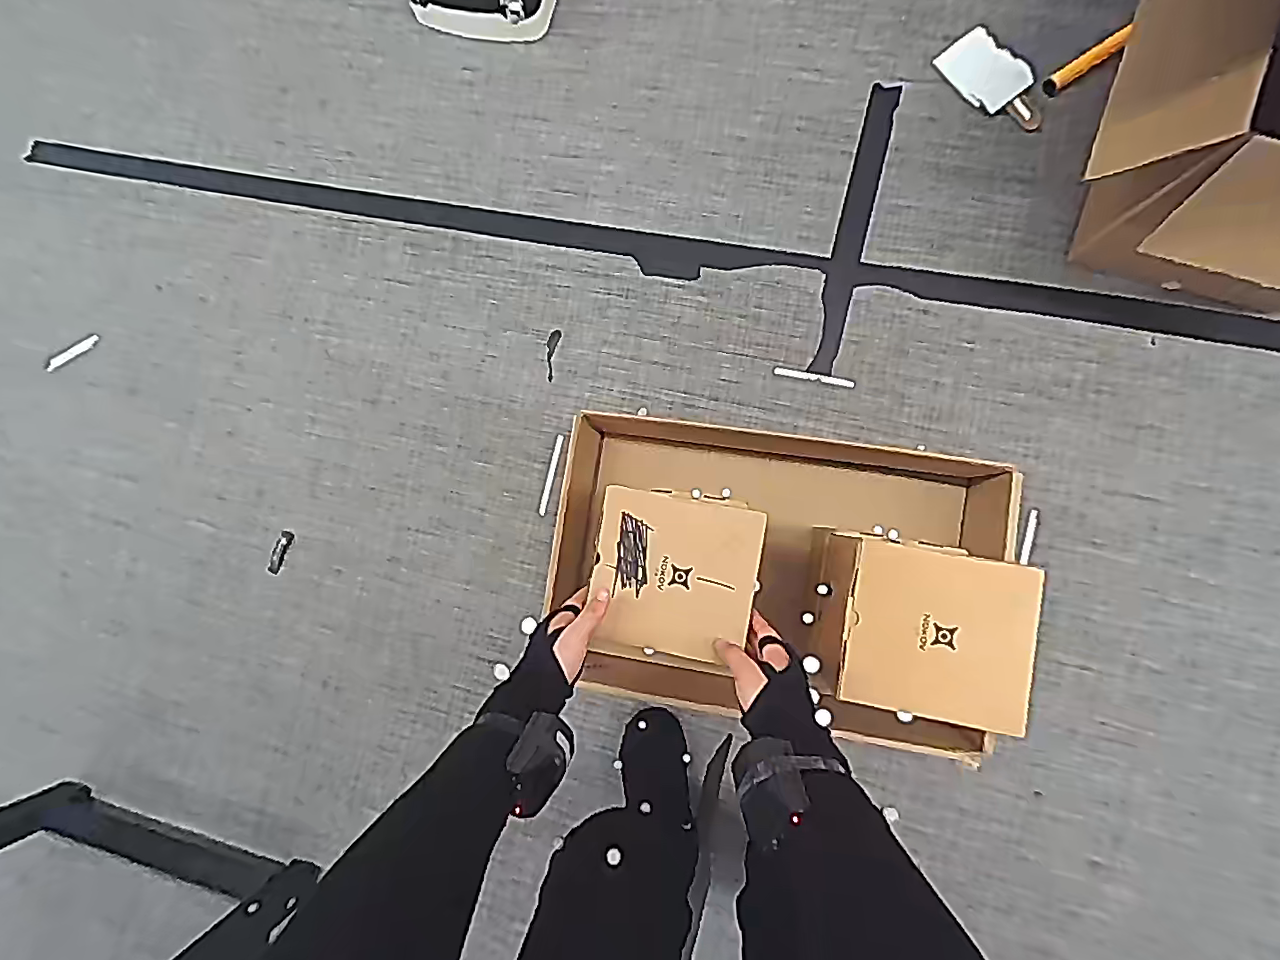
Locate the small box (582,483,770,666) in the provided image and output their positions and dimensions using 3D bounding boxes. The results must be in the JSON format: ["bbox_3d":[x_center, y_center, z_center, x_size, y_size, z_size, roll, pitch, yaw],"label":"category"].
[{"bbox_3d":[0.046,0.104,0.649,0.179,0.176,0.168,10,87,7],"label":"small box"}]

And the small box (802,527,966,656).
[{"bbox_3d":[0.336,0.167,0.775,0.168,0.176,0.179,9,86,8],"label":"small box"}]

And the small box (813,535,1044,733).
[{"bbox_3d":[0.309,0.157,0.615,0.179,0.176,0.168,9,88,10],"label":"small box"}]
